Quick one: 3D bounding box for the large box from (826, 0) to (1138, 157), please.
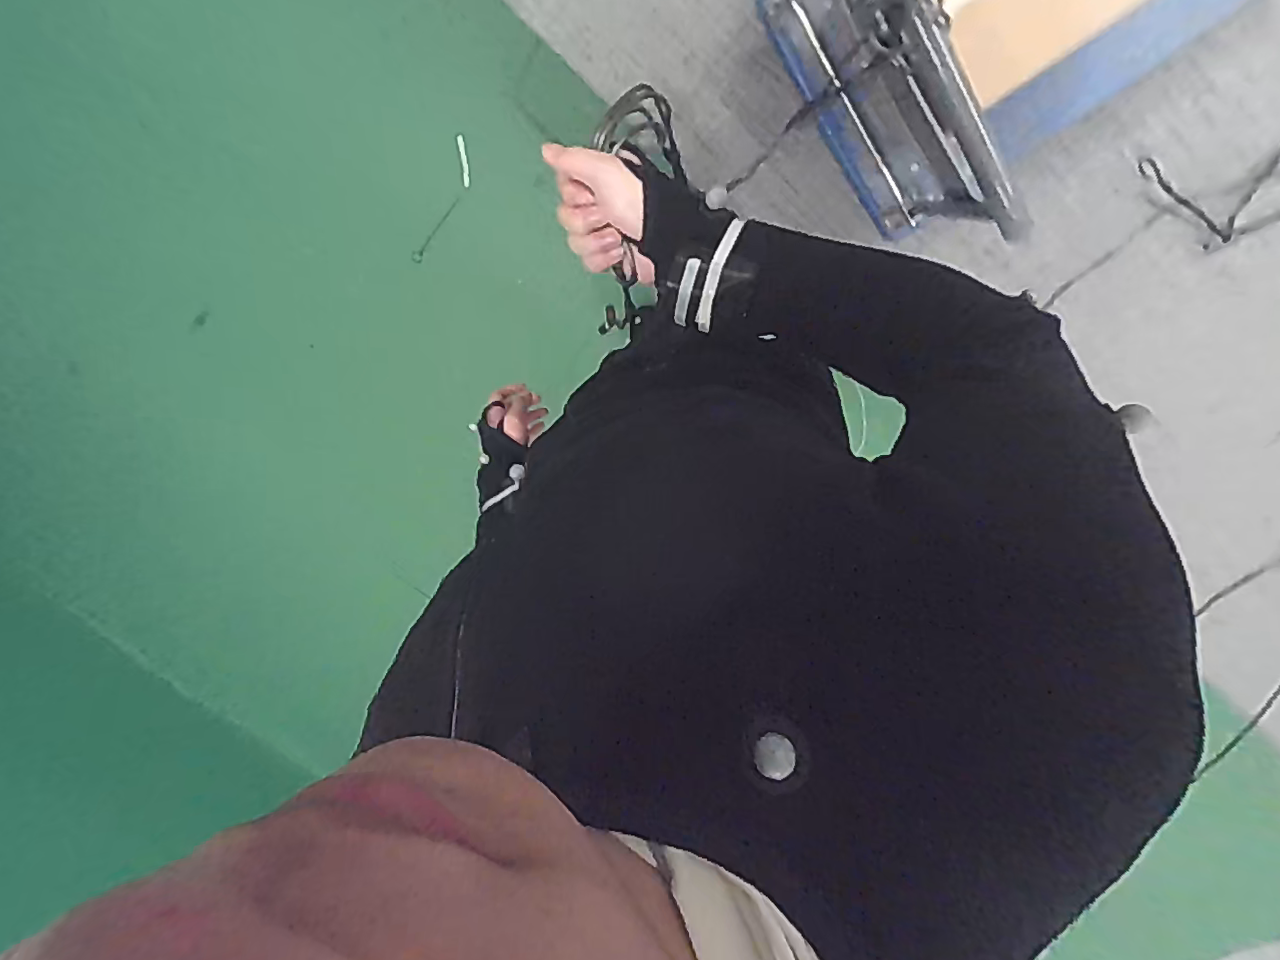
[{"bbox_3d":[0.586,-0.833,0.904,0.408,0.320,0.320,-31,106,20],"label":"large box"}]
